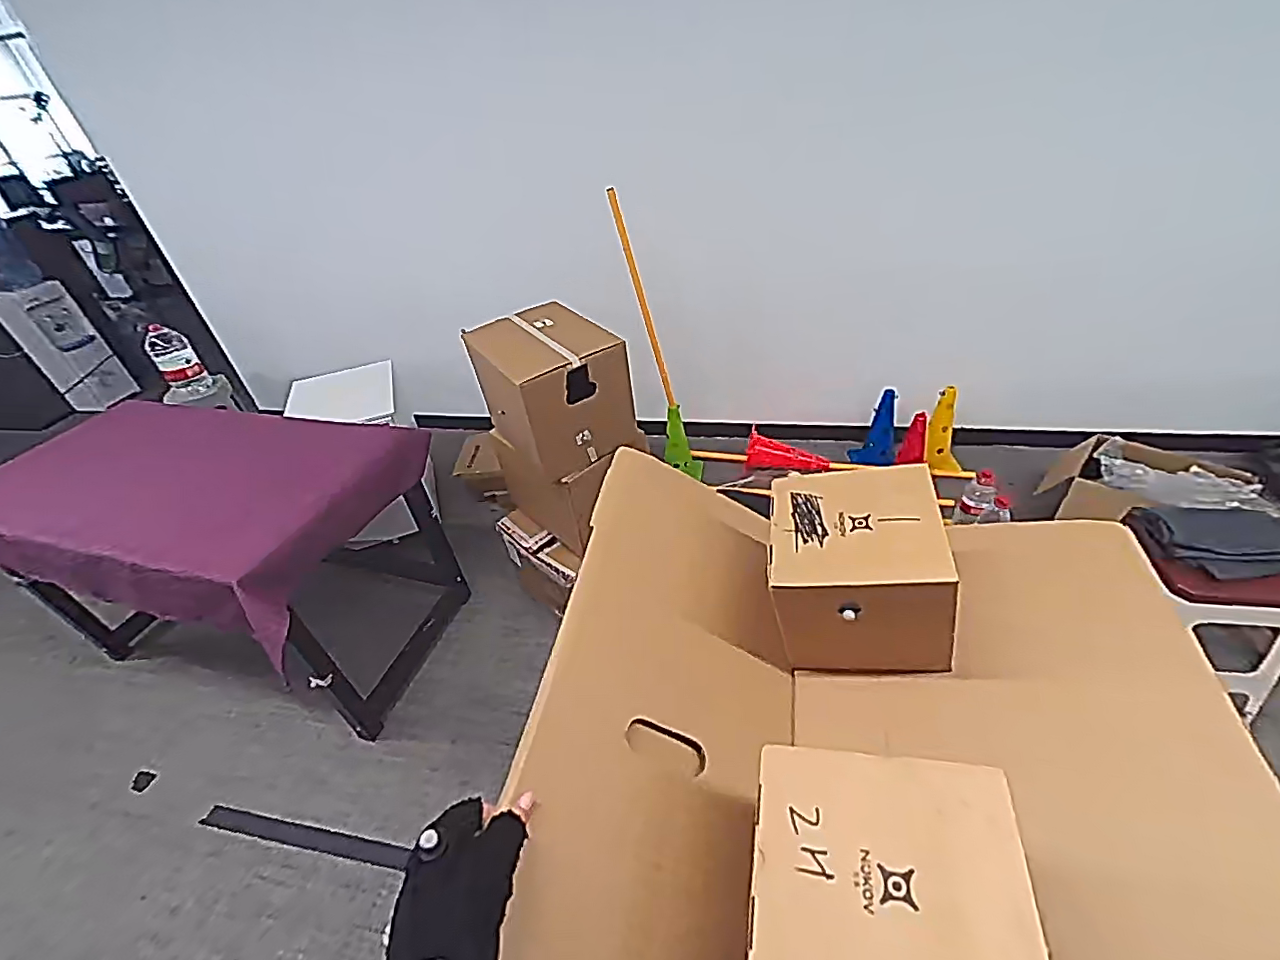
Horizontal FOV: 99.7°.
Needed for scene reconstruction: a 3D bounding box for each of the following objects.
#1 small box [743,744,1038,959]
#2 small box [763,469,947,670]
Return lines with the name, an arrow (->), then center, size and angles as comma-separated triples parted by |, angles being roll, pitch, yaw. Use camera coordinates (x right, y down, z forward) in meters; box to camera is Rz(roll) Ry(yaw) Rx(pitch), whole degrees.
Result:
small box -> 0.188, 0.331, 0.420 | 0.179, 0.176, 0.168 | -5, 42, 23
small box -> 0.252, 0.110, 0.642 | 0.179, 0.176, 0.168 | -6, 42, 21
